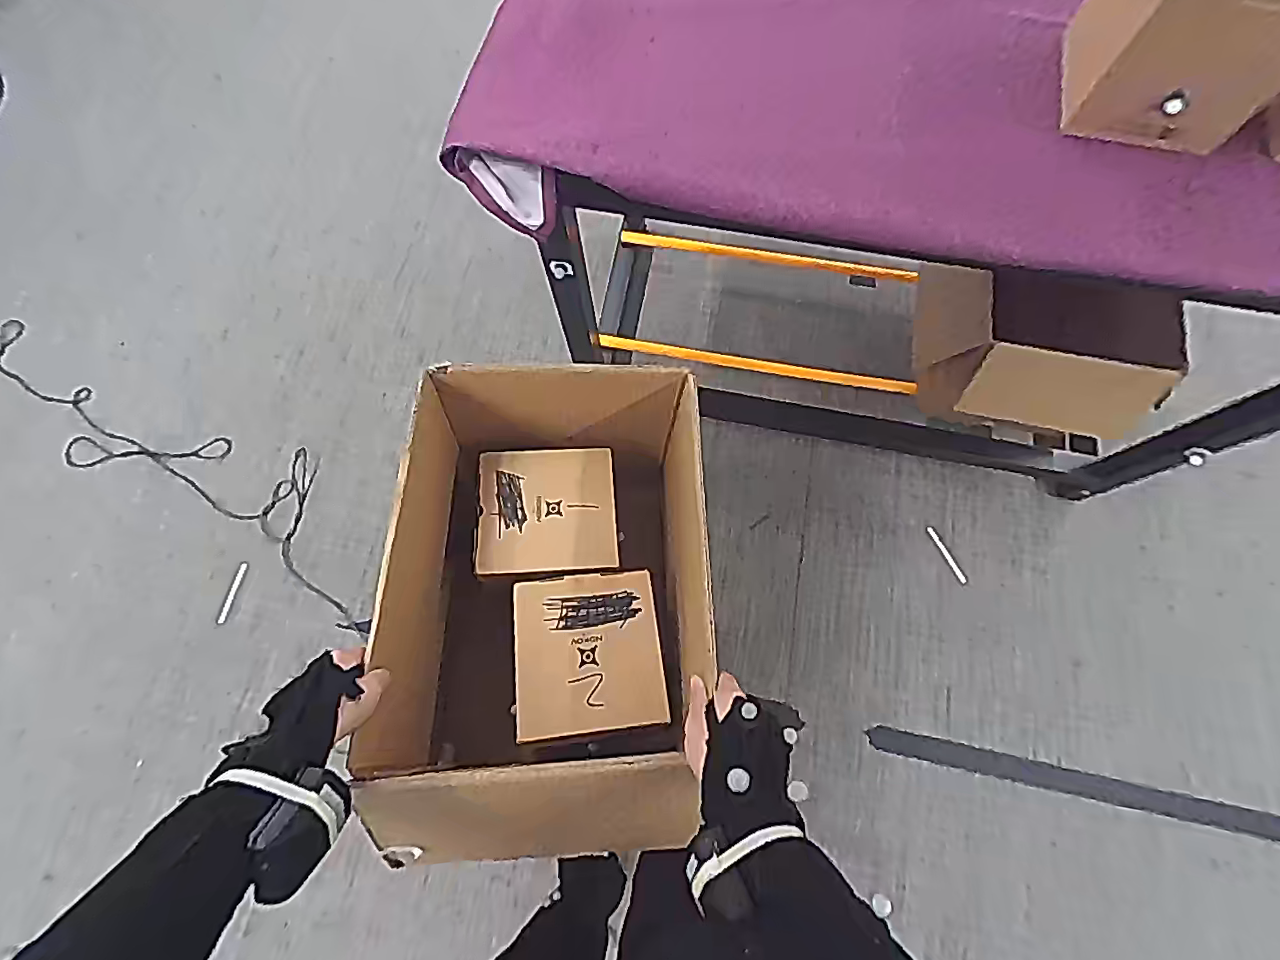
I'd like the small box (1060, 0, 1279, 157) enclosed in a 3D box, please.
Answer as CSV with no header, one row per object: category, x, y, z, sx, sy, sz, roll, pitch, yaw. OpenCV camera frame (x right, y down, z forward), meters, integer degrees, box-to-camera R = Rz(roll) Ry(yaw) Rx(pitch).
small box,0.599,-0.499,0.588,0.168,0.176,0.179,13,73,6
